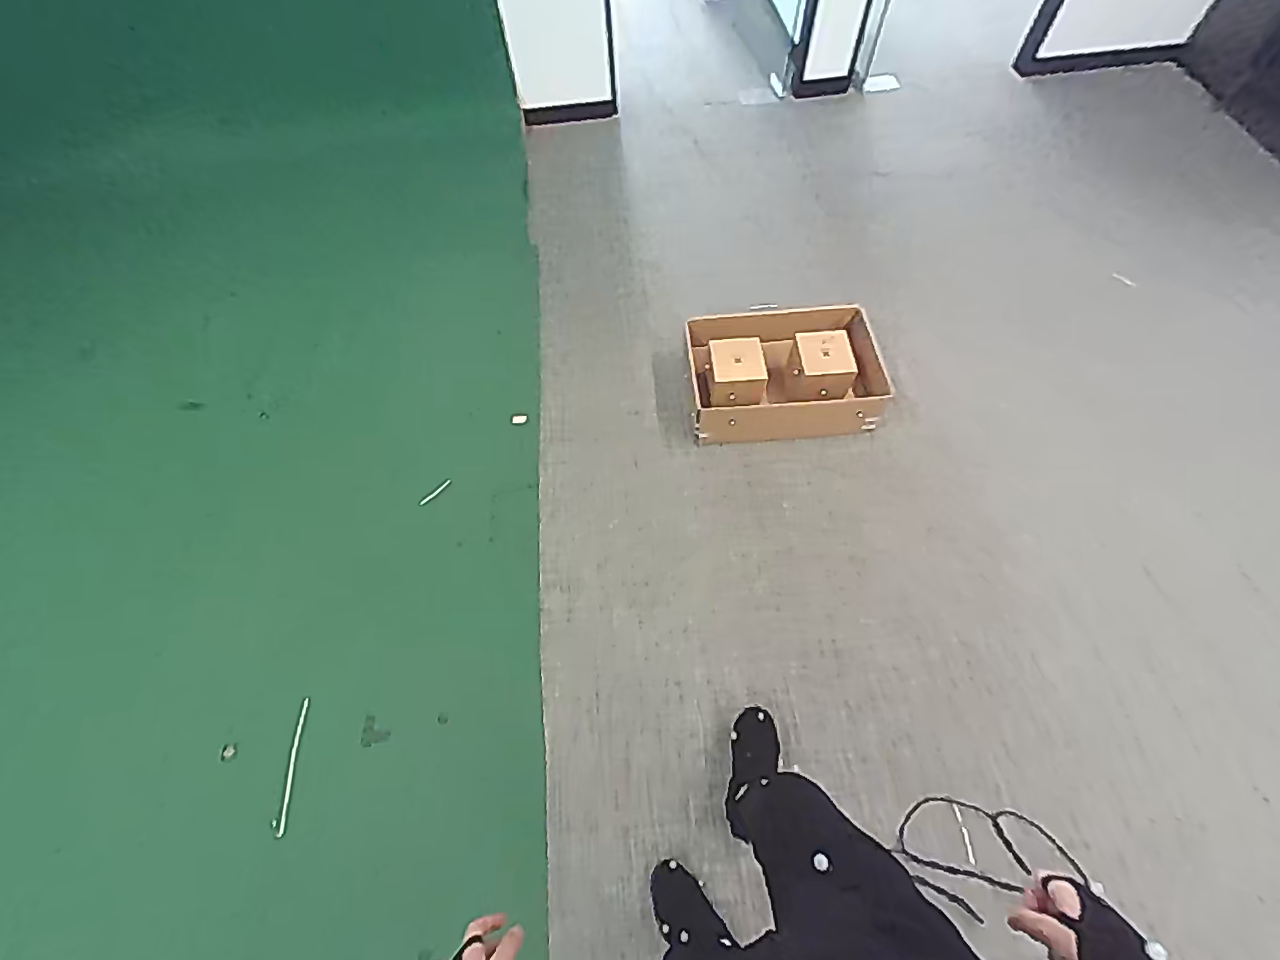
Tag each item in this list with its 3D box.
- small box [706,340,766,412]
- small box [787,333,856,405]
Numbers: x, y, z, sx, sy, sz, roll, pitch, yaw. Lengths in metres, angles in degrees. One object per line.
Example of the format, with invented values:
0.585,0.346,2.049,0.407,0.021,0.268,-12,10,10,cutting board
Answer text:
0.313,-0.337,1.791,0.168,0.176,0.179,-4,60,0,small box
0.594,-0.359,1.792,0.168,0.176,0.179,-3,61,1,small box
